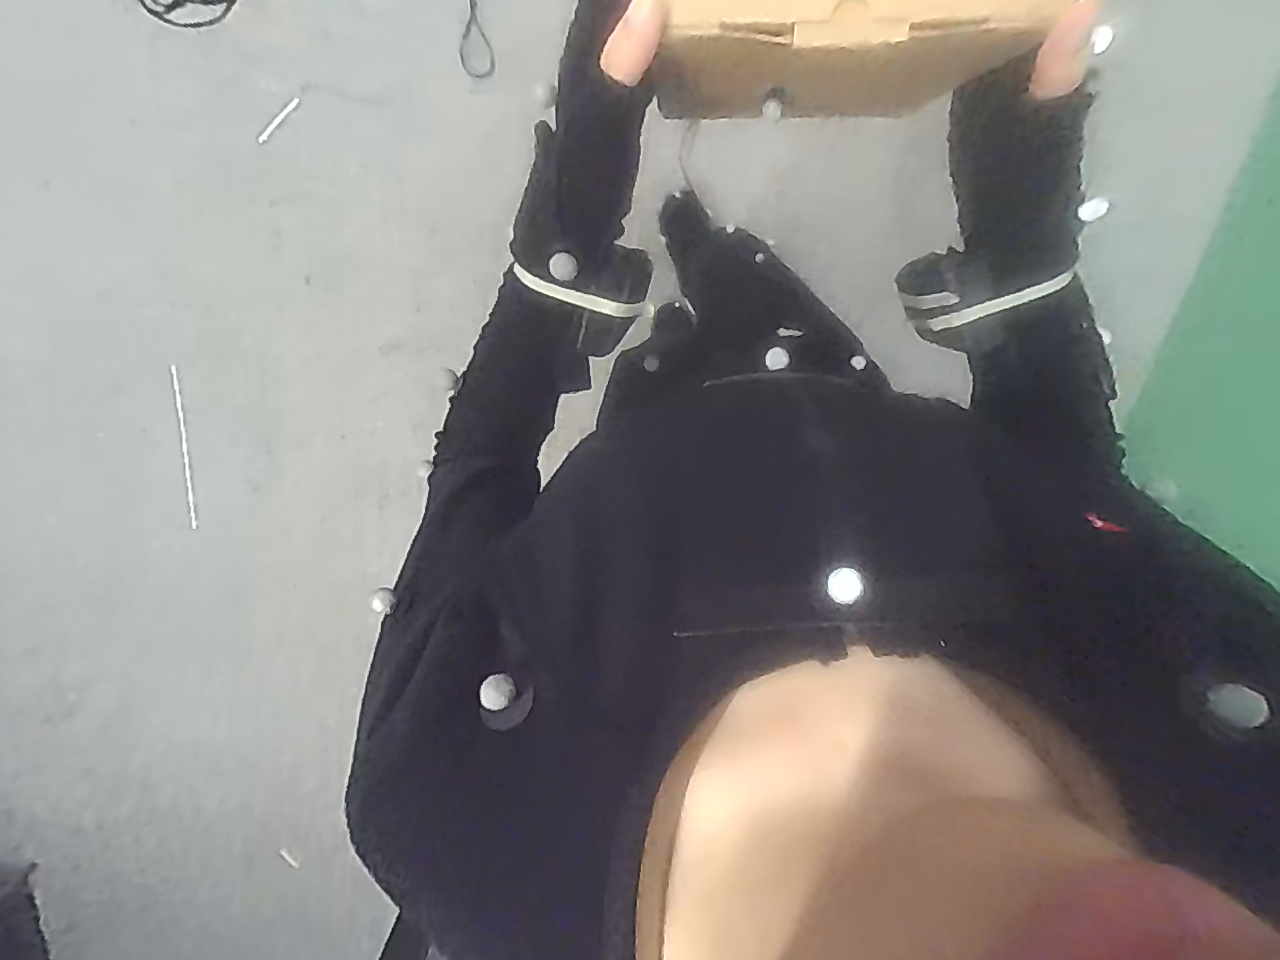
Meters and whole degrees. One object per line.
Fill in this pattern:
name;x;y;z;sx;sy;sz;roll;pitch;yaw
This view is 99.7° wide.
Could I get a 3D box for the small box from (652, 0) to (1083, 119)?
small box;0.092;-0.288;0.250;0.168;0.176;0.179;2;114;4
